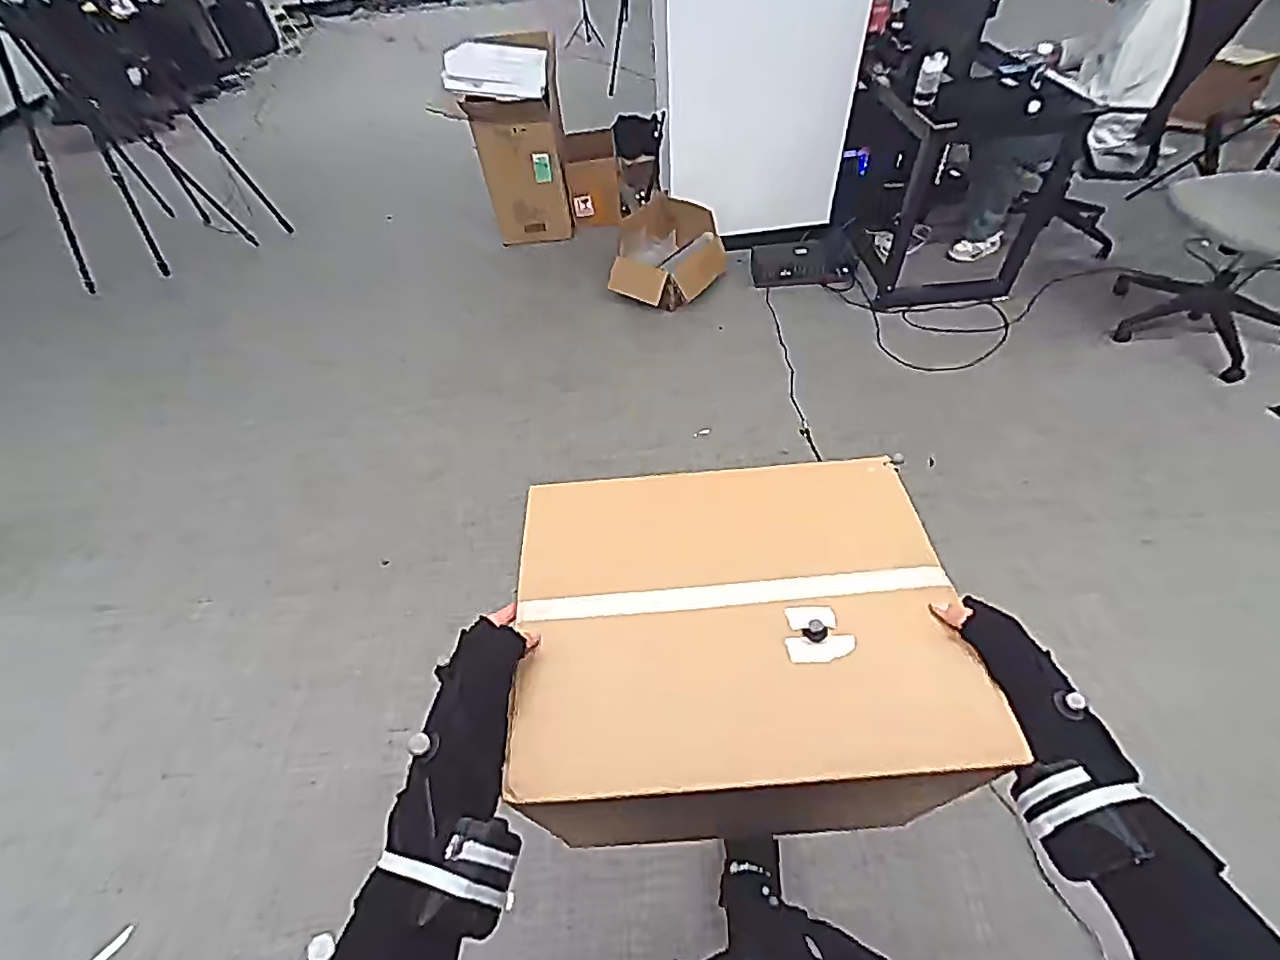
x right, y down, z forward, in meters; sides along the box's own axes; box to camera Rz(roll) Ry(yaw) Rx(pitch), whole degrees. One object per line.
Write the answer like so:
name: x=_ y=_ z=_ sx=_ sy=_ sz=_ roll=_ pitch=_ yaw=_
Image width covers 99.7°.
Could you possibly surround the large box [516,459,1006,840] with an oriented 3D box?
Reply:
large box: x=0.094 y=0.205 z=0.636 sx=0.408 sy=0.320 sz=0.320 roll=-5 pitch=50 yaw=1
